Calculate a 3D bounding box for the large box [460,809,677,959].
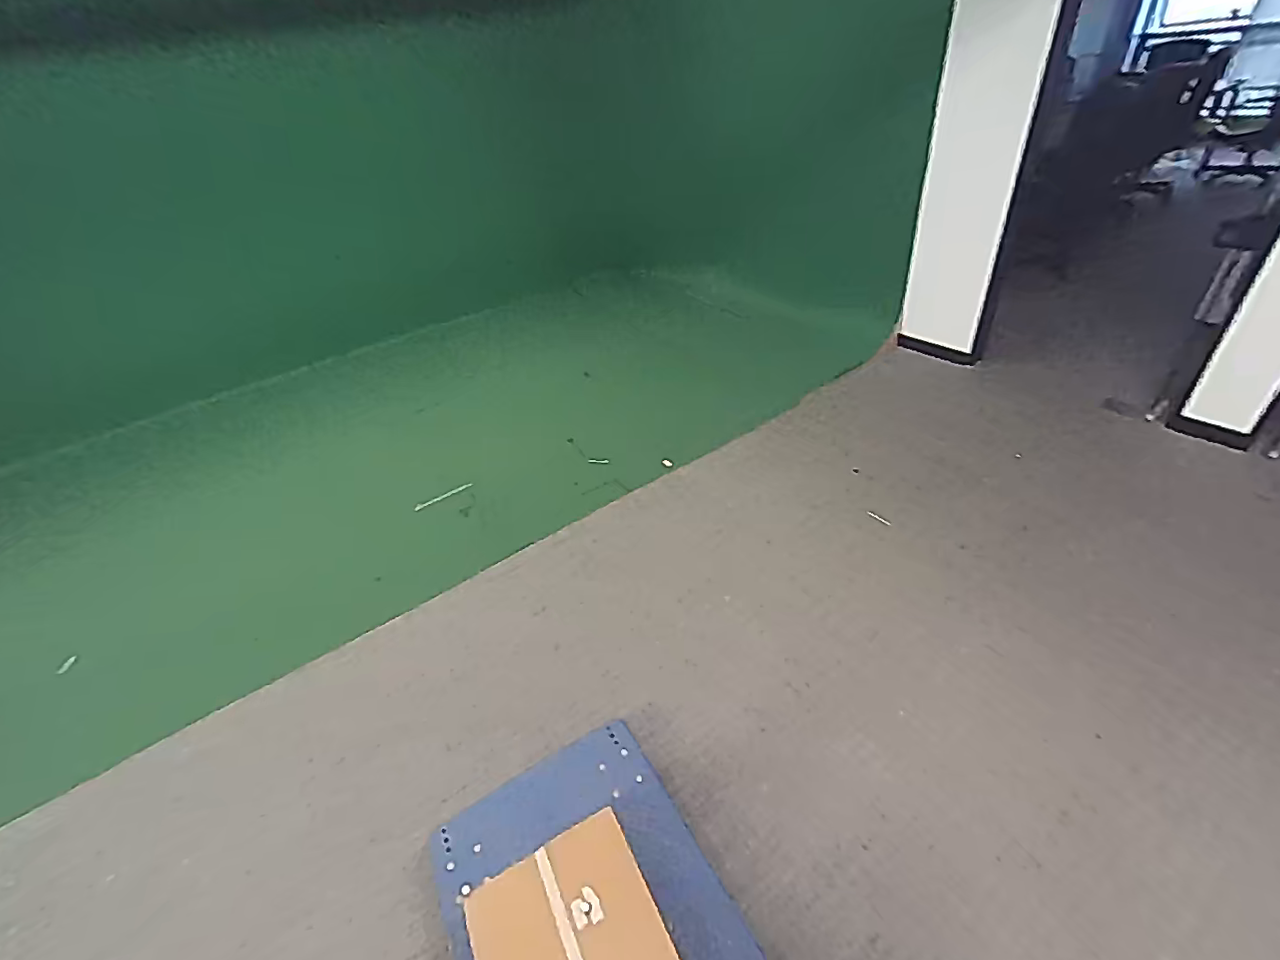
[{"bbox_3d":[-0.091,0.940,1.002,0.320,0.320,0.408,-23,39,-18],"label":"large box"}]
